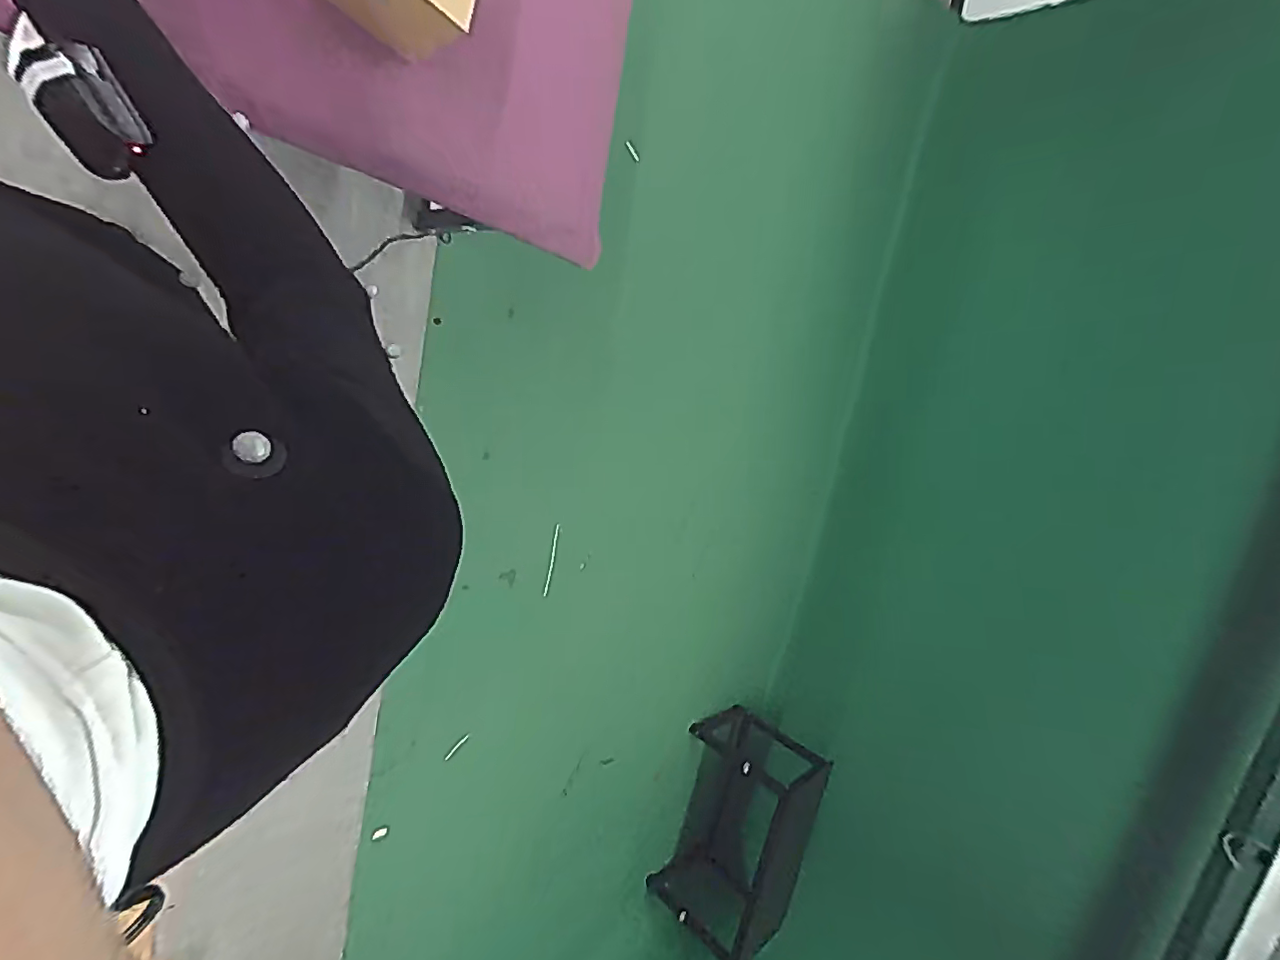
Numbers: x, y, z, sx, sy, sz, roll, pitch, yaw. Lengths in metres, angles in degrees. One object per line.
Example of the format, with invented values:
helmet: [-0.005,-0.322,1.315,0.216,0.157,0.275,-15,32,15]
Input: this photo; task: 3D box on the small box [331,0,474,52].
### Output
small box: [-0.317,-0.691,0.682,0.179,0.176,0.168,10,98,-50]
